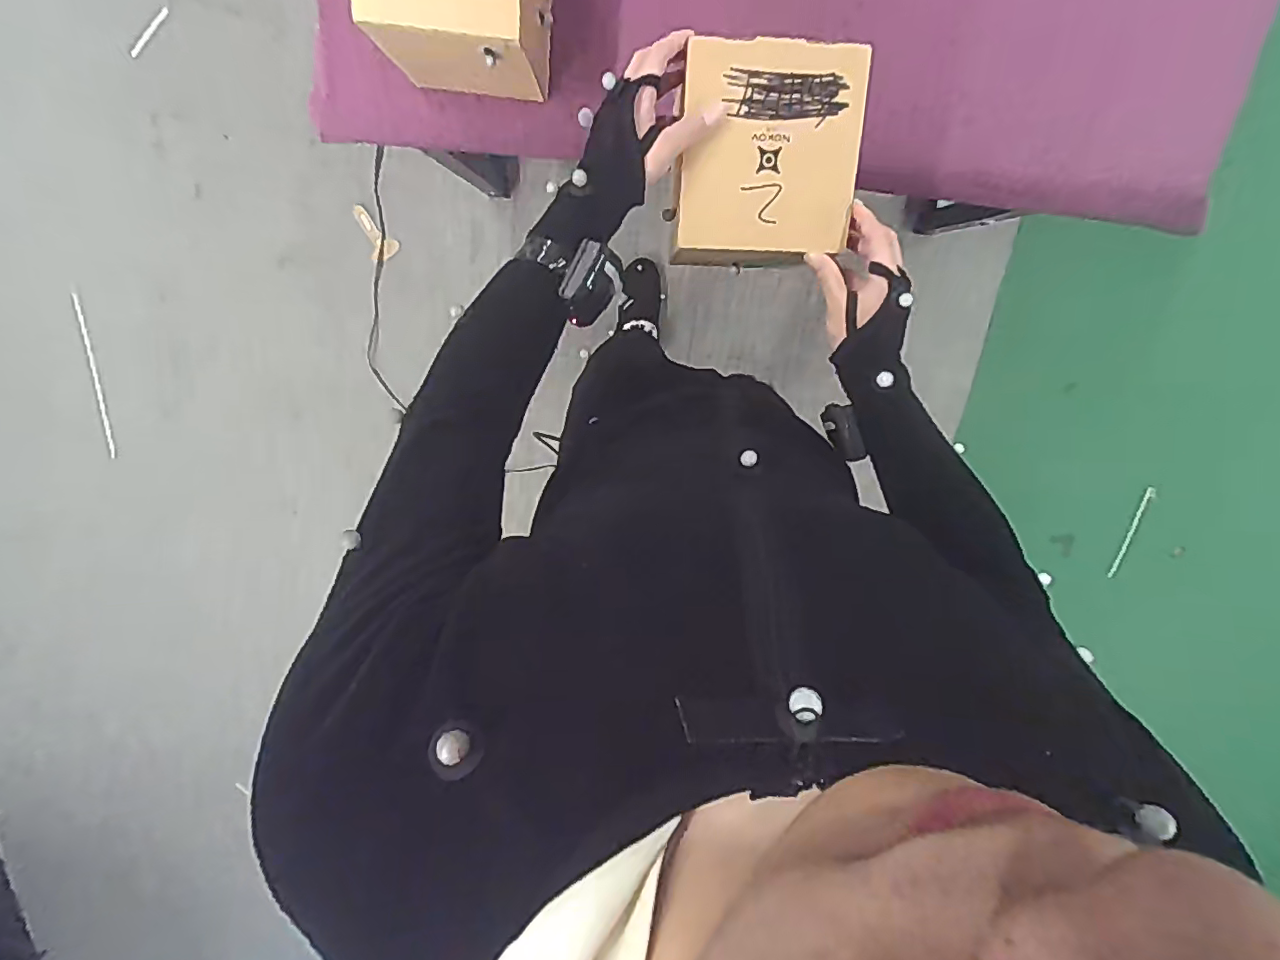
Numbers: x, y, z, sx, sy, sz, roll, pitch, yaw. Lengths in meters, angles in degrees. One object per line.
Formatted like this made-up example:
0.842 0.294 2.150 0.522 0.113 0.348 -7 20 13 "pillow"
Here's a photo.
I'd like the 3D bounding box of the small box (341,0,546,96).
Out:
-0.206 -0.558 0.601 0.179 0.176 0.168 5 107 -3 "small box"
